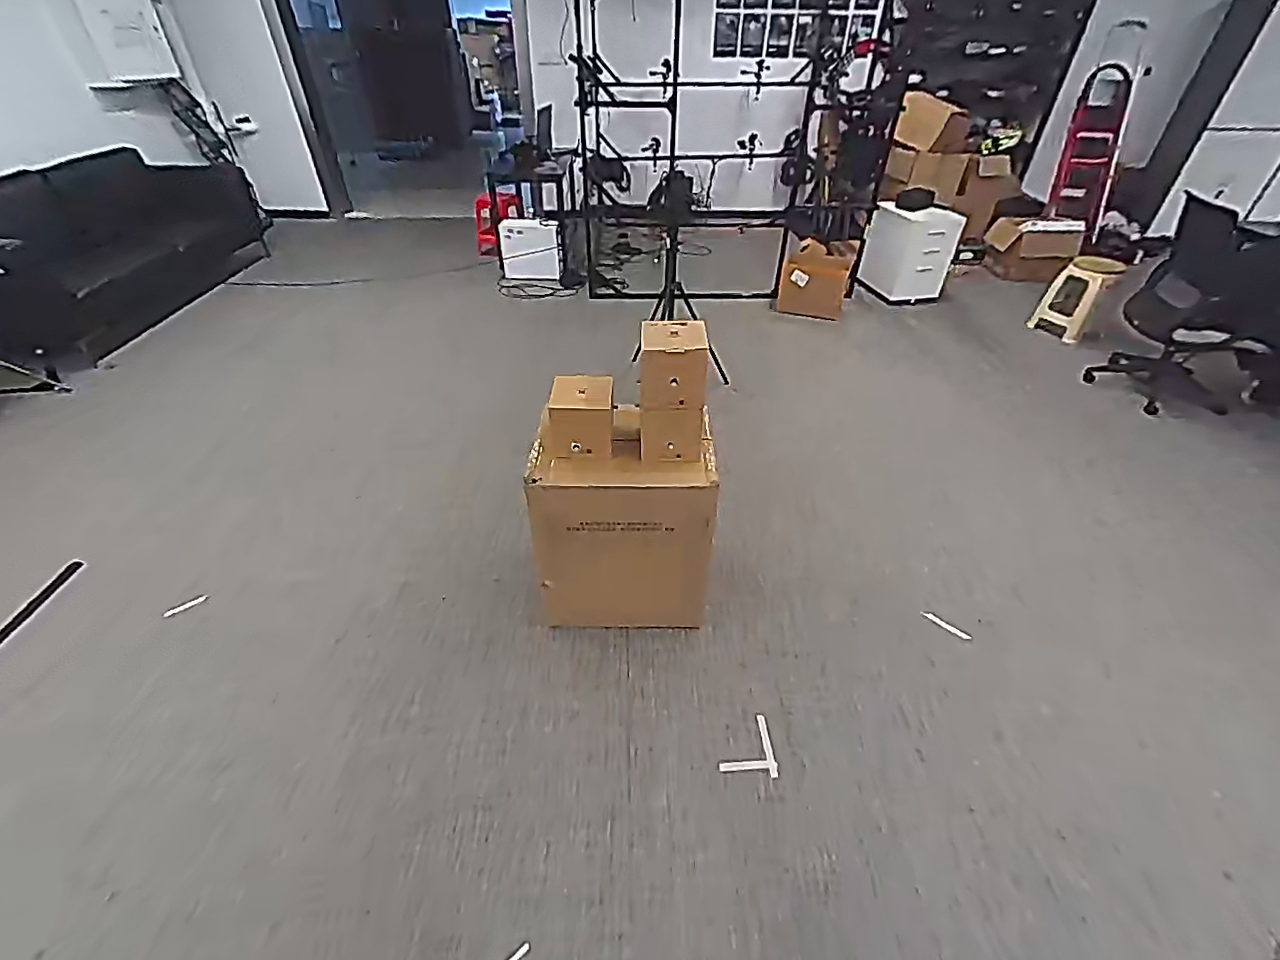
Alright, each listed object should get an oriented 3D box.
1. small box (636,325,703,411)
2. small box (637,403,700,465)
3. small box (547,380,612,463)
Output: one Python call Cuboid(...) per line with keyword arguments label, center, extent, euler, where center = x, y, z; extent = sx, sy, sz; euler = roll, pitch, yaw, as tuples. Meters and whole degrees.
Cuboid(label="small box", center=(0.077, -0.291, 1.417), extent=(0.168, 0.176, 0.179), euler=(0, 40, 1))
Cuboid(label="small box", center=(0.075, -0.160, 1.517), extent=(0.168, 0.176, 0.179), euler=(-1, 39, 0))
Cuboid(label="small box", center=(-0.165, -0.166, 1.526), extent=(0.168, 0.176, 0.179), euler=(-1, 40, -1))
